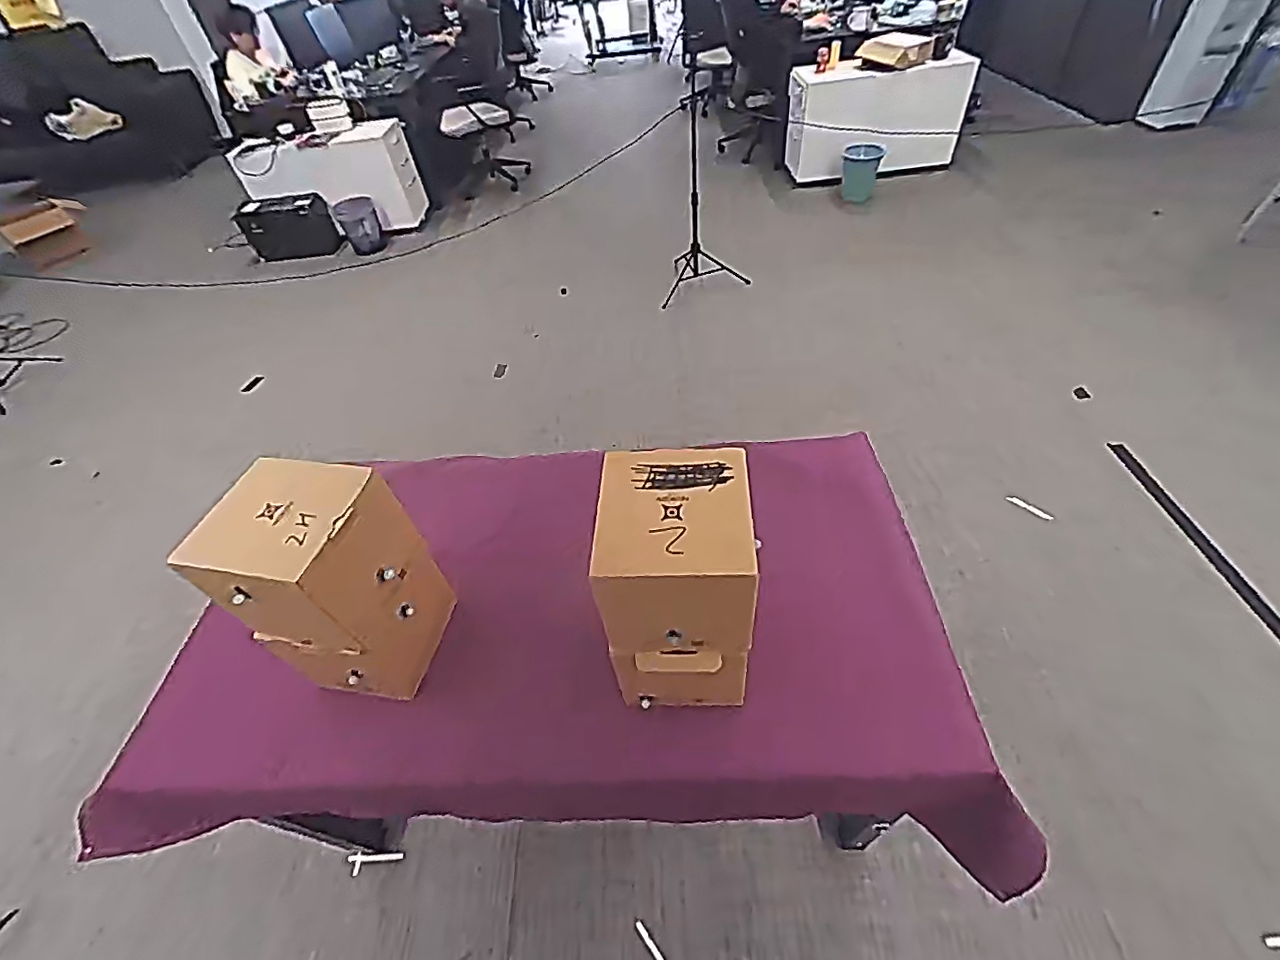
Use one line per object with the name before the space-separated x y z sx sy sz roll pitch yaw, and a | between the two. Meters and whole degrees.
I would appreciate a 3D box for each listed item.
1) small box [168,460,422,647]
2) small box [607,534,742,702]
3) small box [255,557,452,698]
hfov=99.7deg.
small box | -0.417 0.096 0.689 0.179 0.176 0.168 6 50 11
small box | 0.054 0.197 0.755 0.168 0.176 0.179 -2 47 6
small box | -0.407 0.206 0.810 0.168 0.176 0.179 5 49 11
